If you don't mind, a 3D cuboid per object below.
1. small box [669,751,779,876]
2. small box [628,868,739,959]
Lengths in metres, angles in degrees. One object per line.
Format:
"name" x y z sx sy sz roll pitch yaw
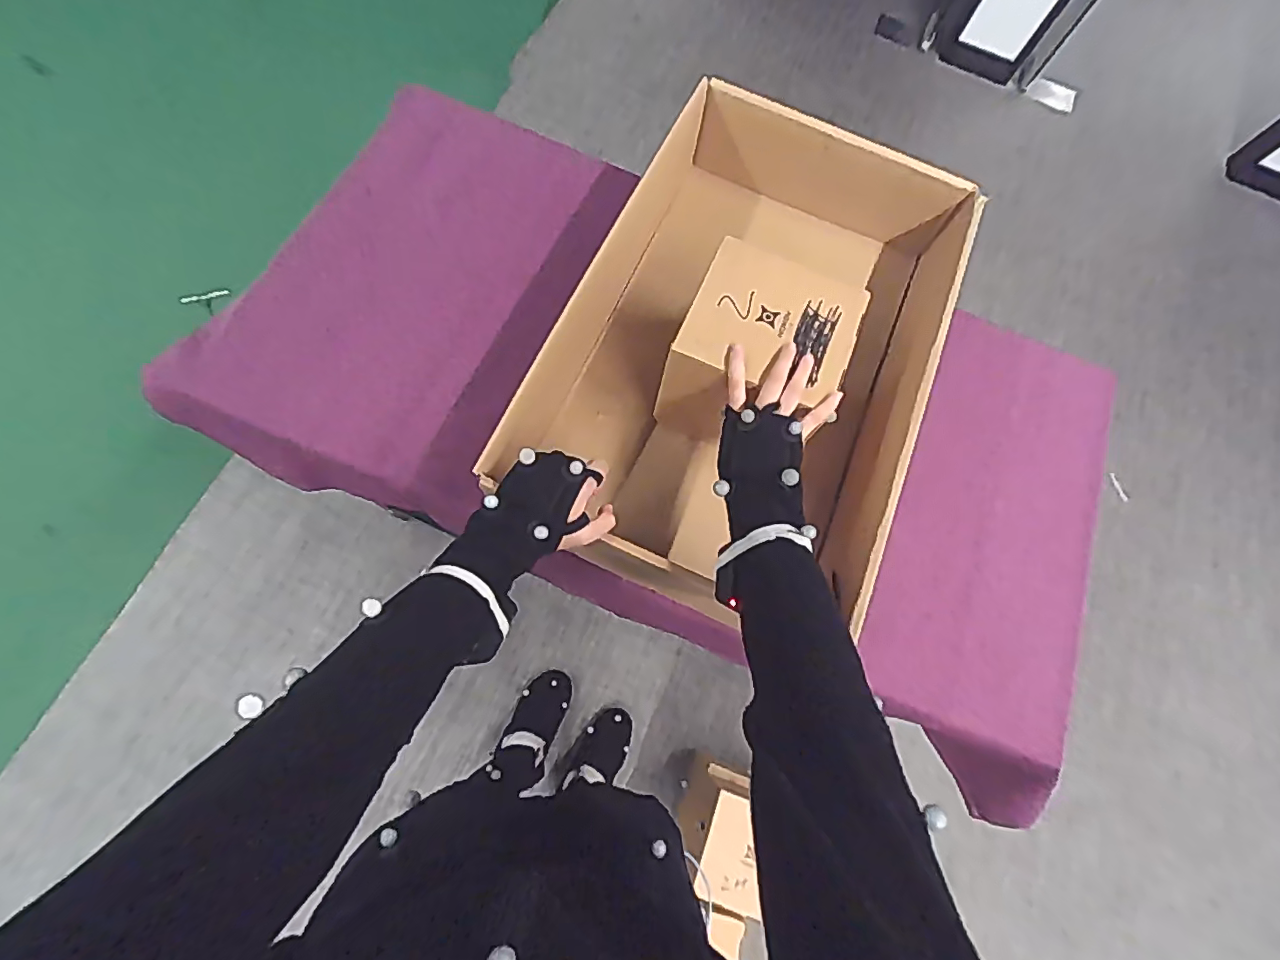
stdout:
"small box" 0.180 0.726 1.202 0.179 0.176 0.168 23 72 2
"small box" 0.083 0.946 1.125 0.179 0.176 0.168 19 71 -1
